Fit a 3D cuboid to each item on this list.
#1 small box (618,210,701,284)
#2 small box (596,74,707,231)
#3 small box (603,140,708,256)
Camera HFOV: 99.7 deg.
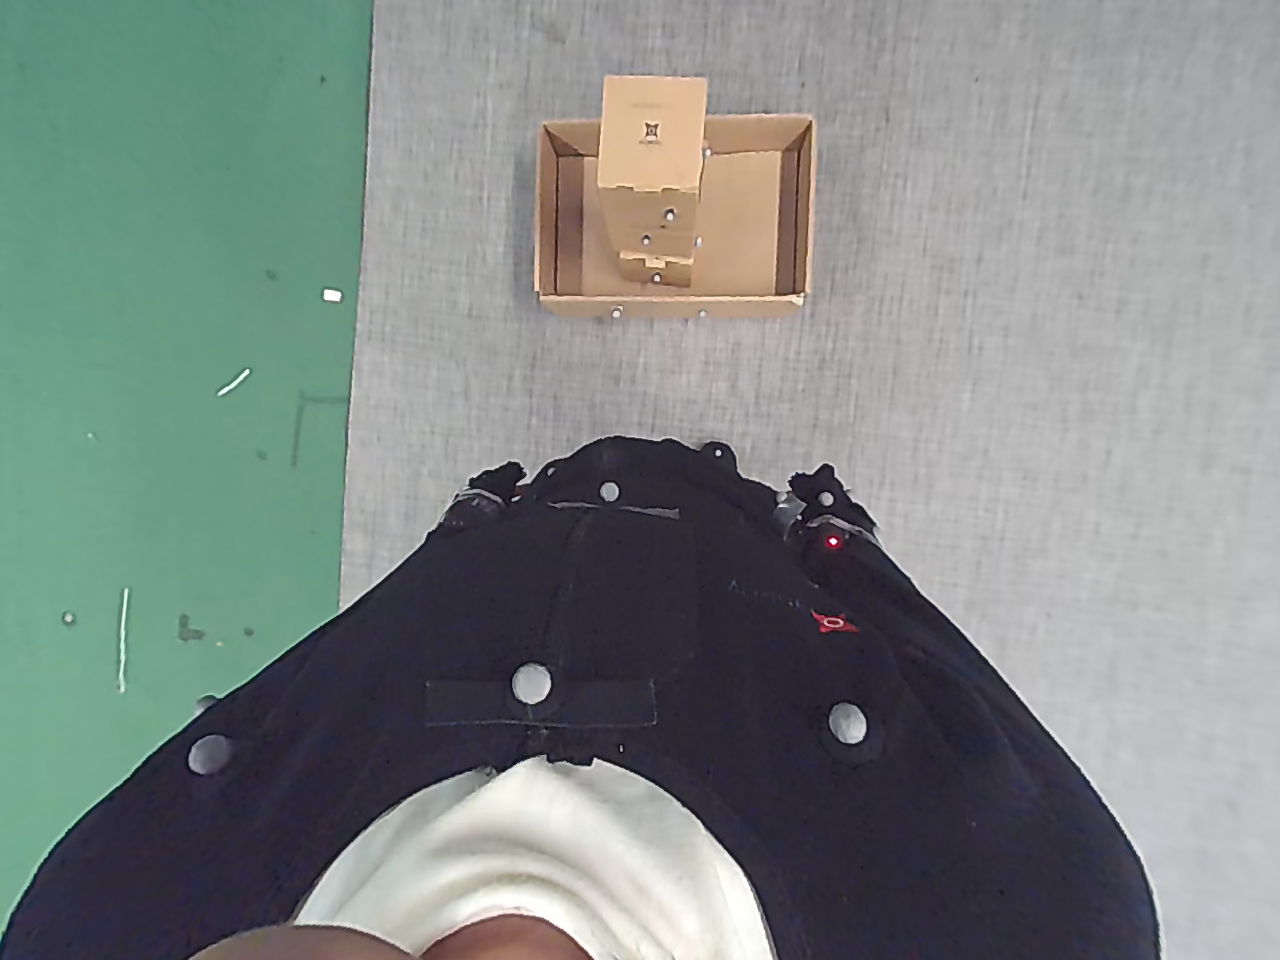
[{"bbox_3d":[0.050,-0.571,1.259,0.168,0.176,0.179,8,95,3],"label":"small box"},{"bbox_3d":[0.022,-0.553,0.935,0.168,0.176,0.179,5,92,2],"label":"small box"},{"bbox_3d":[0.035,-0.572,1.095,0.179,0.176,0.168,11,93,5],"label":"small box"}]
